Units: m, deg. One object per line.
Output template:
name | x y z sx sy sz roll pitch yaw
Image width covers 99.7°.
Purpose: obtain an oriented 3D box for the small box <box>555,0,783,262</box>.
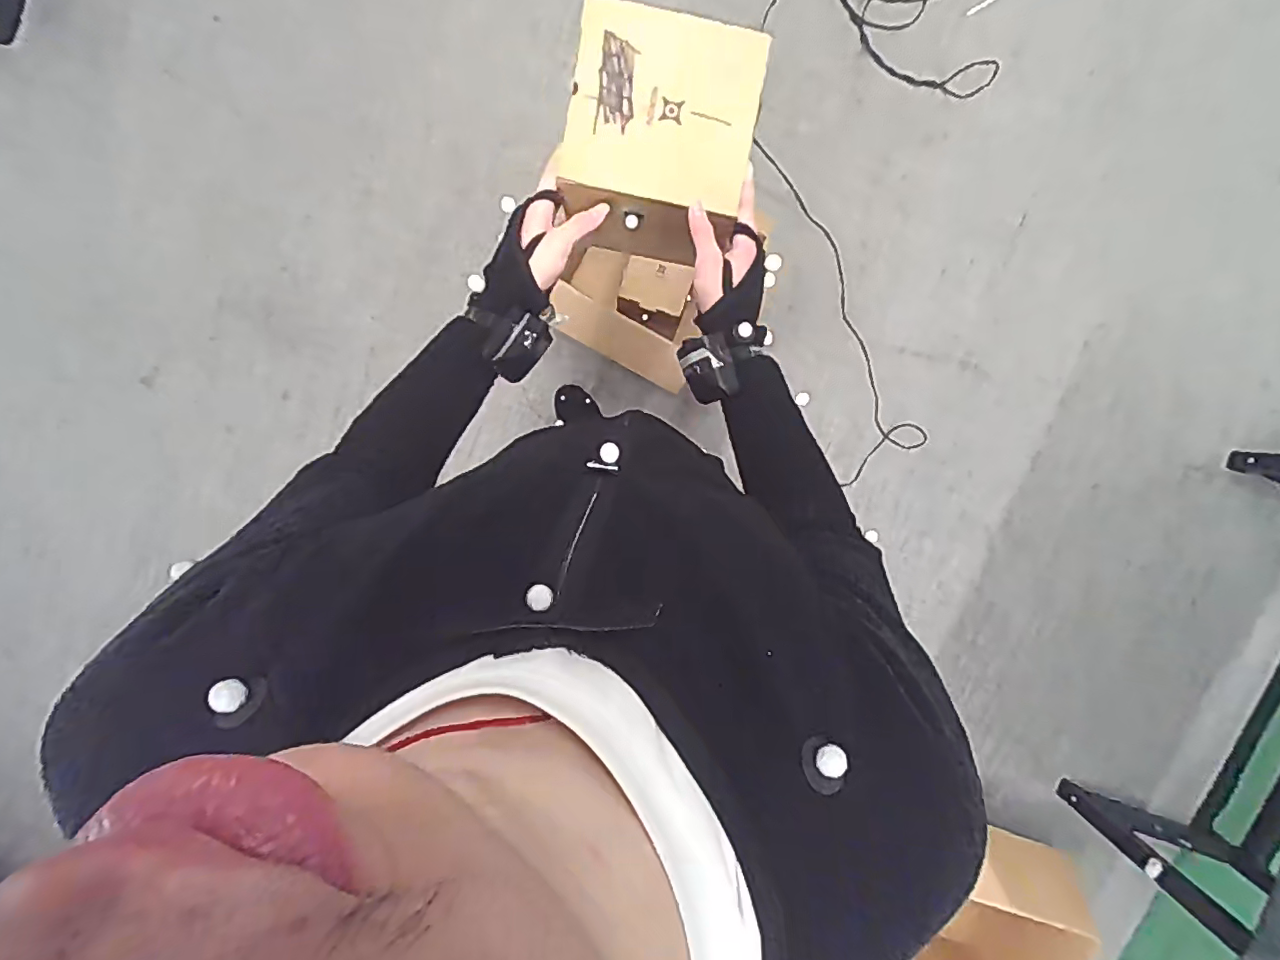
small box | 0.024 -0.349 0.569 0.179 0.176 0.168 15 97 -2
